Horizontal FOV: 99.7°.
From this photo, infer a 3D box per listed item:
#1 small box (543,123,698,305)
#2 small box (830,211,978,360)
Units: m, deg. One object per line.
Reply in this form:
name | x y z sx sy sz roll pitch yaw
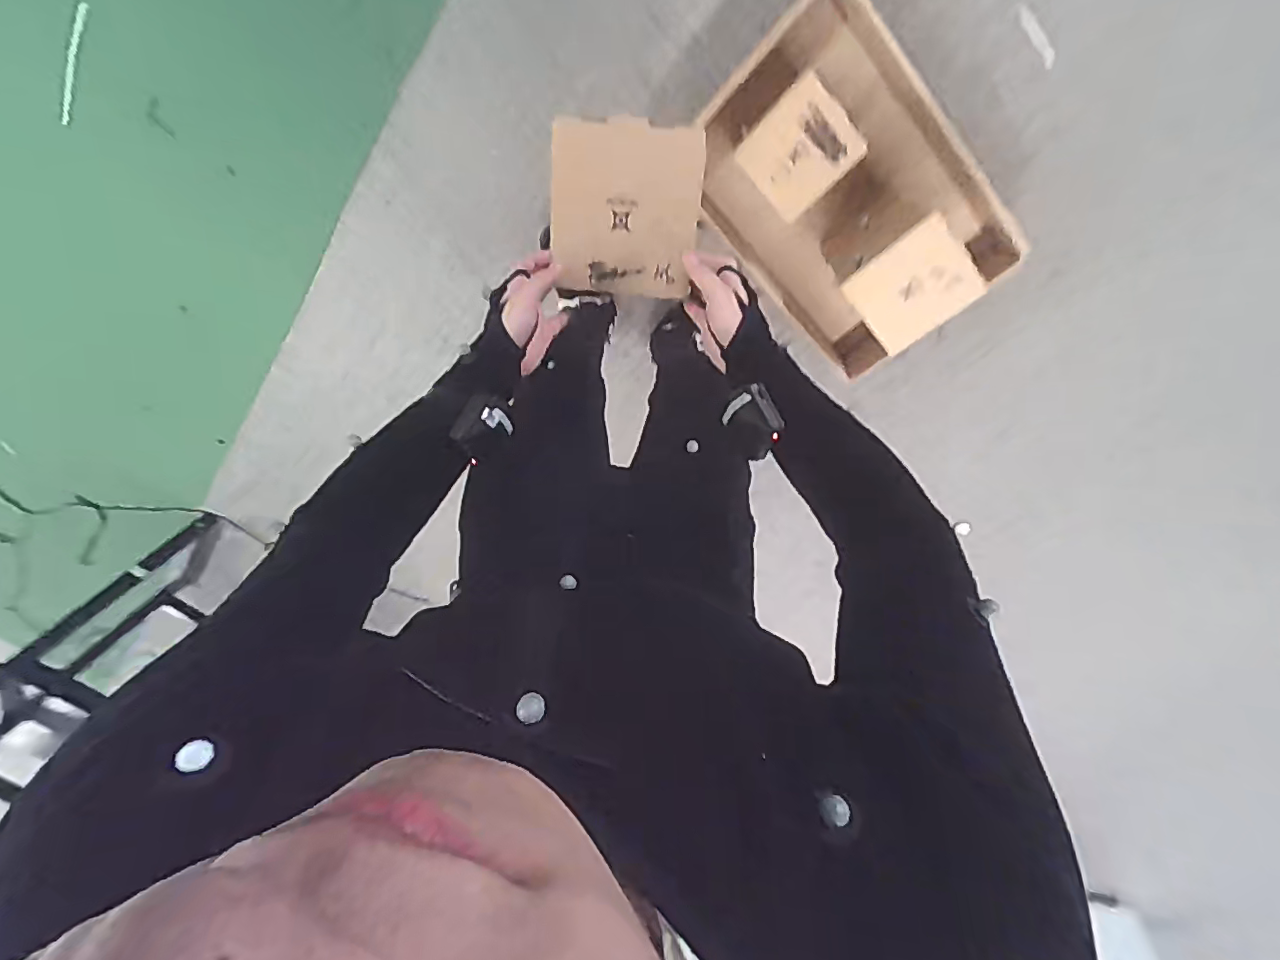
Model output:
small box | -0.019 -0.324 0.683 0.168 0.176 0.179 7 112 4
small box | 0.464 -0.356 0.984 0.179 0.176 0.168 -36 110 29
